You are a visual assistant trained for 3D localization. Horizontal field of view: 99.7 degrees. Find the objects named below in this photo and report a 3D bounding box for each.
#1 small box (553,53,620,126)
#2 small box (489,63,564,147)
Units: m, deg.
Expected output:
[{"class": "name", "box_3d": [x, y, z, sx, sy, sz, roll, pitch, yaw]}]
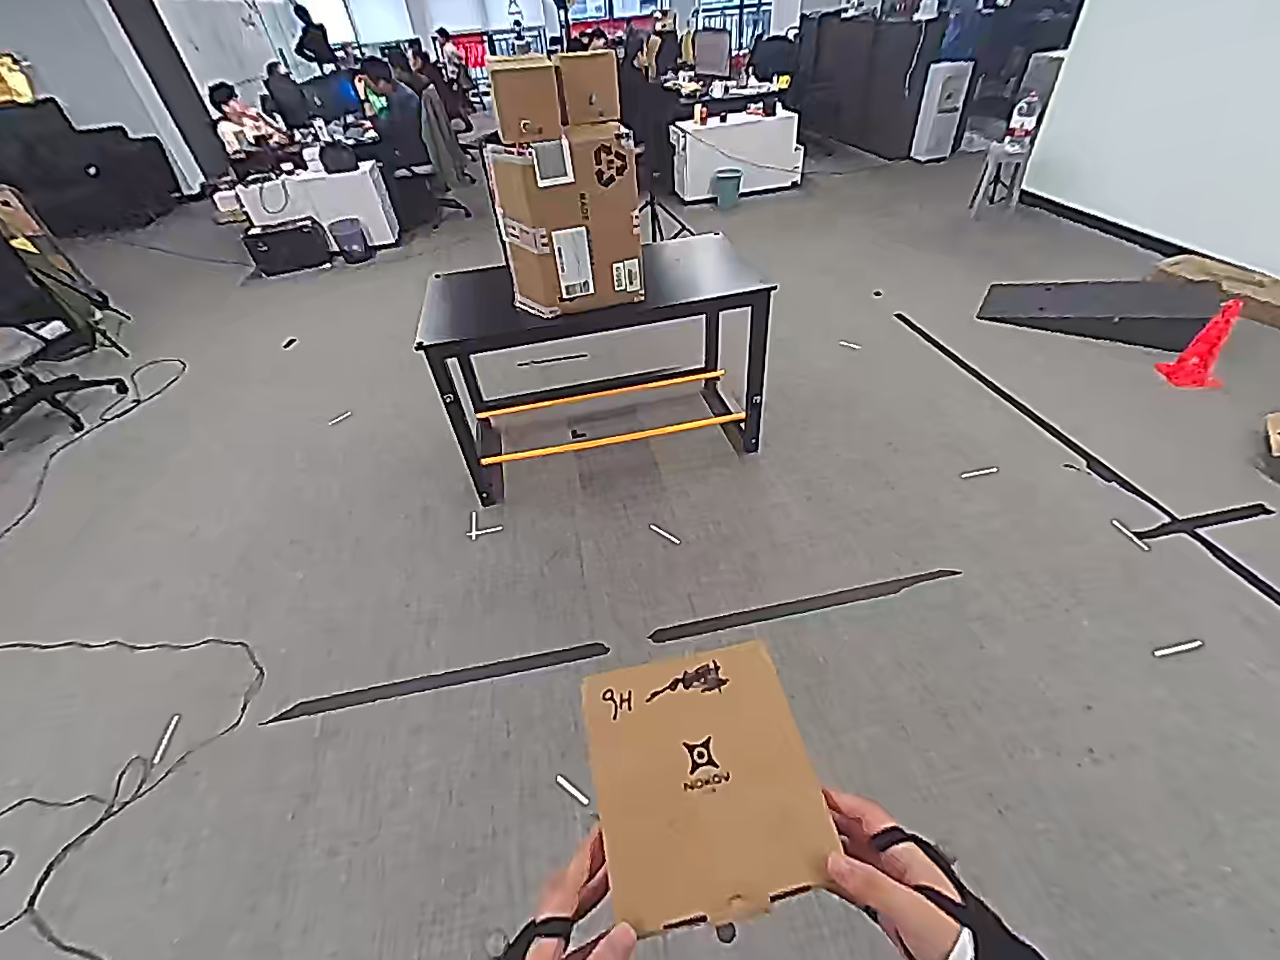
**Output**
[{"class": "small box", "box_3d": [-0.165, -1.199, 1.662, 0.168, 0.176, 0.179, -13, 41, -9]}, {"class": "small box", "box_3d": [-0.311, -1.027, 1.481, 0.168, 0.176, 0.179, -13, 44, -9]}]
